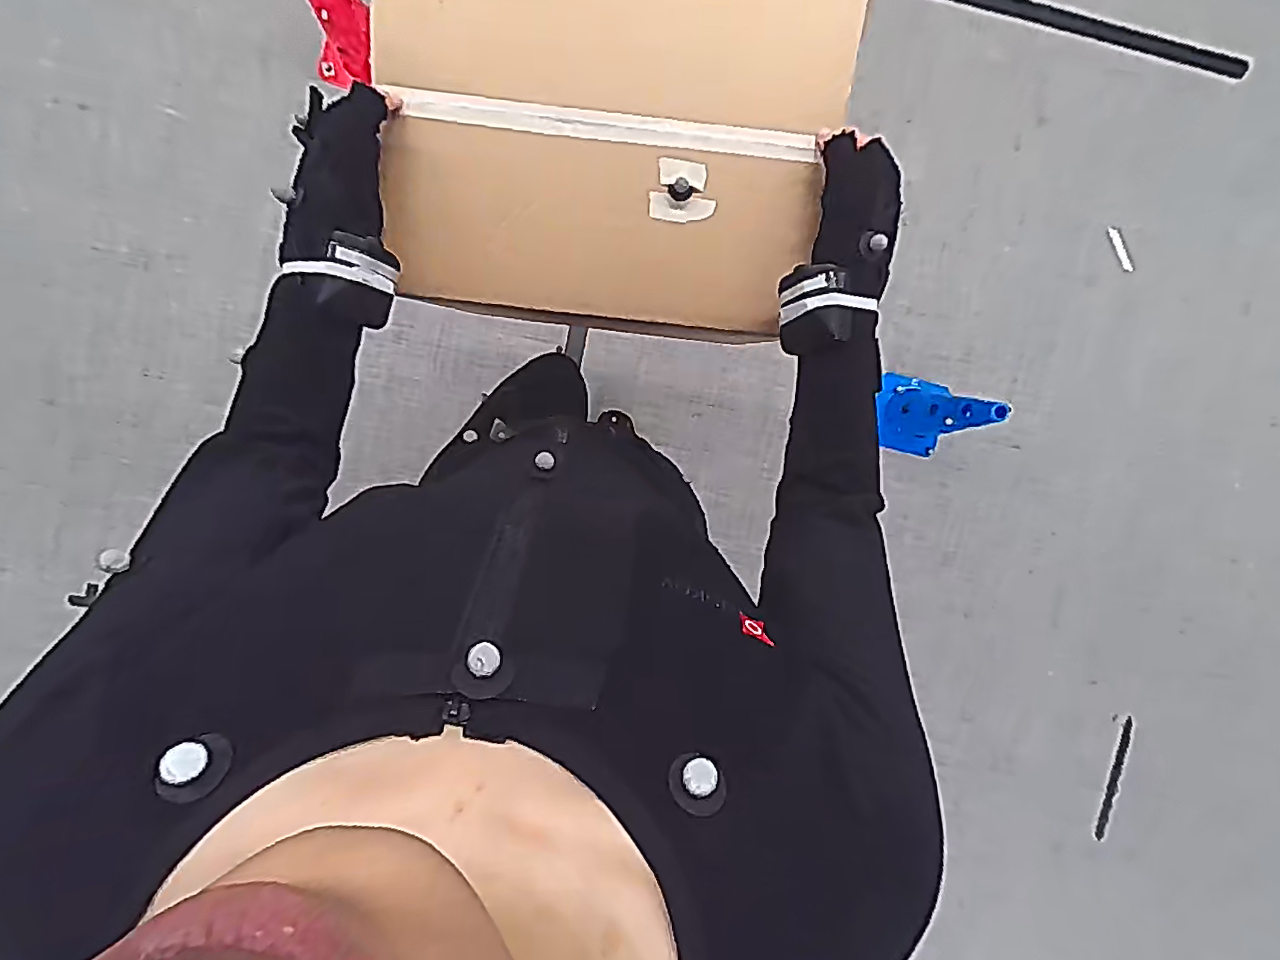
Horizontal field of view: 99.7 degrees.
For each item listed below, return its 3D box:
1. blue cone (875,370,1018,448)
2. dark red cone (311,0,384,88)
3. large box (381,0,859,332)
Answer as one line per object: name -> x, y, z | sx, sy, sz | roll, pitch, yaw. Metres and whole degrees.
blue cone -> 0.759, -0.177, 1.322 | 0.192, 0.380, 0.193 | 14, 95, -5
dark red cone -> -0.656, -1.044, 1.126 | 0.201, 0.394, 0.202 | 17, 95, -5
large box -> -0.028, -0.350, 0.614 | 0.408, 0.320, 0.320 | 6, 104, -2
